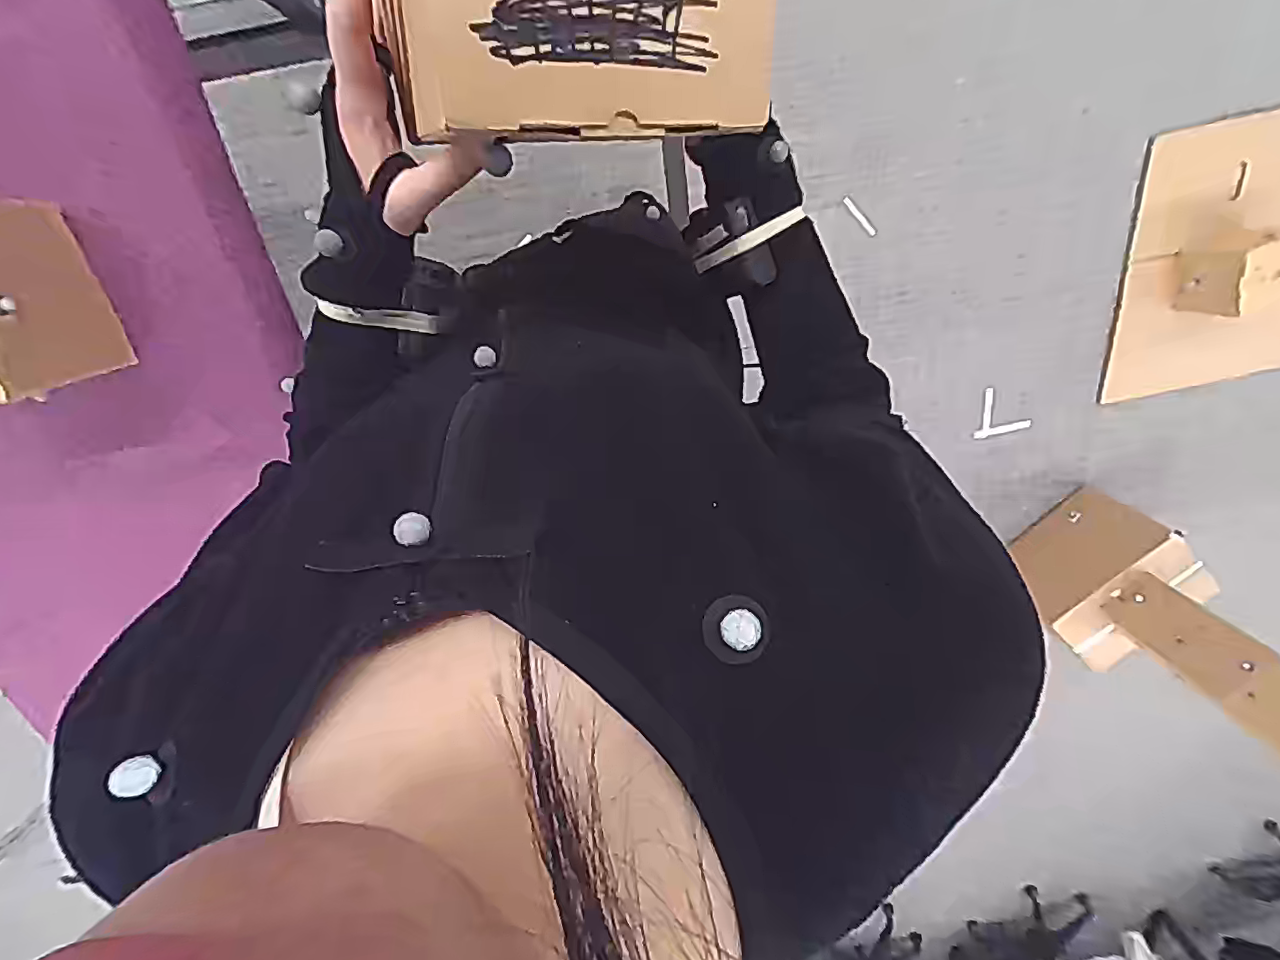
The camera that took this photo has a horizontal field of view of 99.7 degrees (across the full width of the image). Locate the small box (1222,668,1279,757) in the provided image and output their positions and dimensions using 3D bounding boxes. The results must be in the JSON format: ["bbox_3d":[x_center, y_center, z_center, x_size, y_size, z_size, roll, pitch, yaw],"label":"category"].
[{"bbox_3d":[1.465,0.538,1.191,0.179,0.176,0.168,36,107,-20],"label":"small box"}]

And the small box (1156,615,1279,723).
[{"bbox_3d":[1.456,0.466,1.337,0.179,0.176,0.168,36,107,-20],"label":"small box"}]

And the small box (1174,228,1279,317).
[{"bbox_3d":[1.536,-0.534,1.380,0.179,0.176,0.168,-19,113,4],"label":"small box"}]

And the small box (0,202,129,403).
[{"bbox_3d":[-0.684,-0.174,0.538,0.168,0.176,0.179,-9,115,-2],"label":"small box"}]

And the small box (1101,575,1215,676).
[{"bbox_3d":[1.440,0.394,1.483,0.179,0.176,0.168,36,107,-19],"label":"small box"}]
